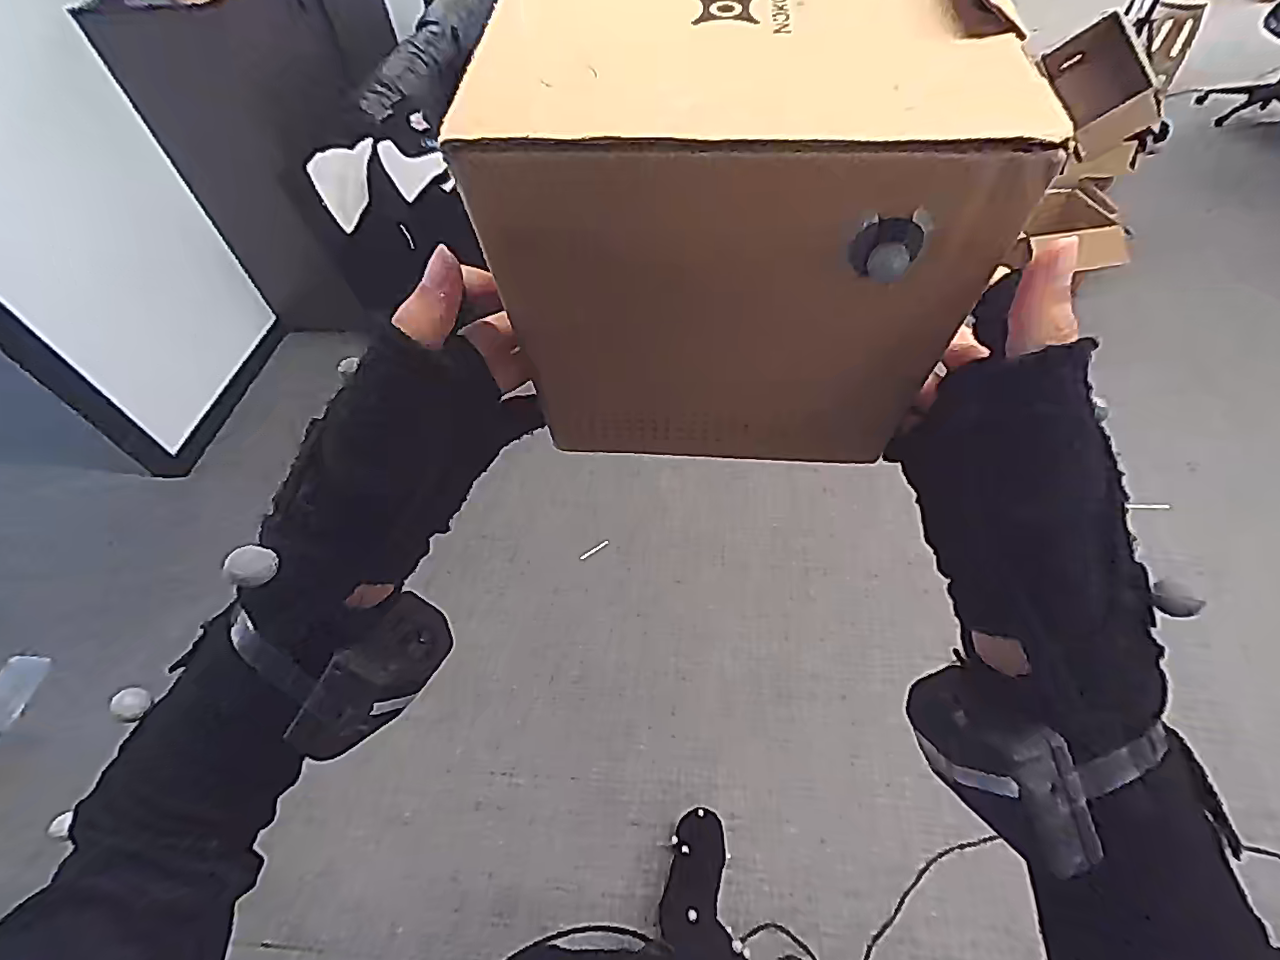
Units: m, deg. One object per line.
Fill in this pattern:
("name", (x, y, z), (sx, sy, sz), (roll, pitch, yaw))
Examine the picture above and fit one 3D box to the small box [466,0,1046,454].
("small box", (0.042, -0.125, 0.269), (0.179, 0.176, 0.168), (3, 61, 4))
